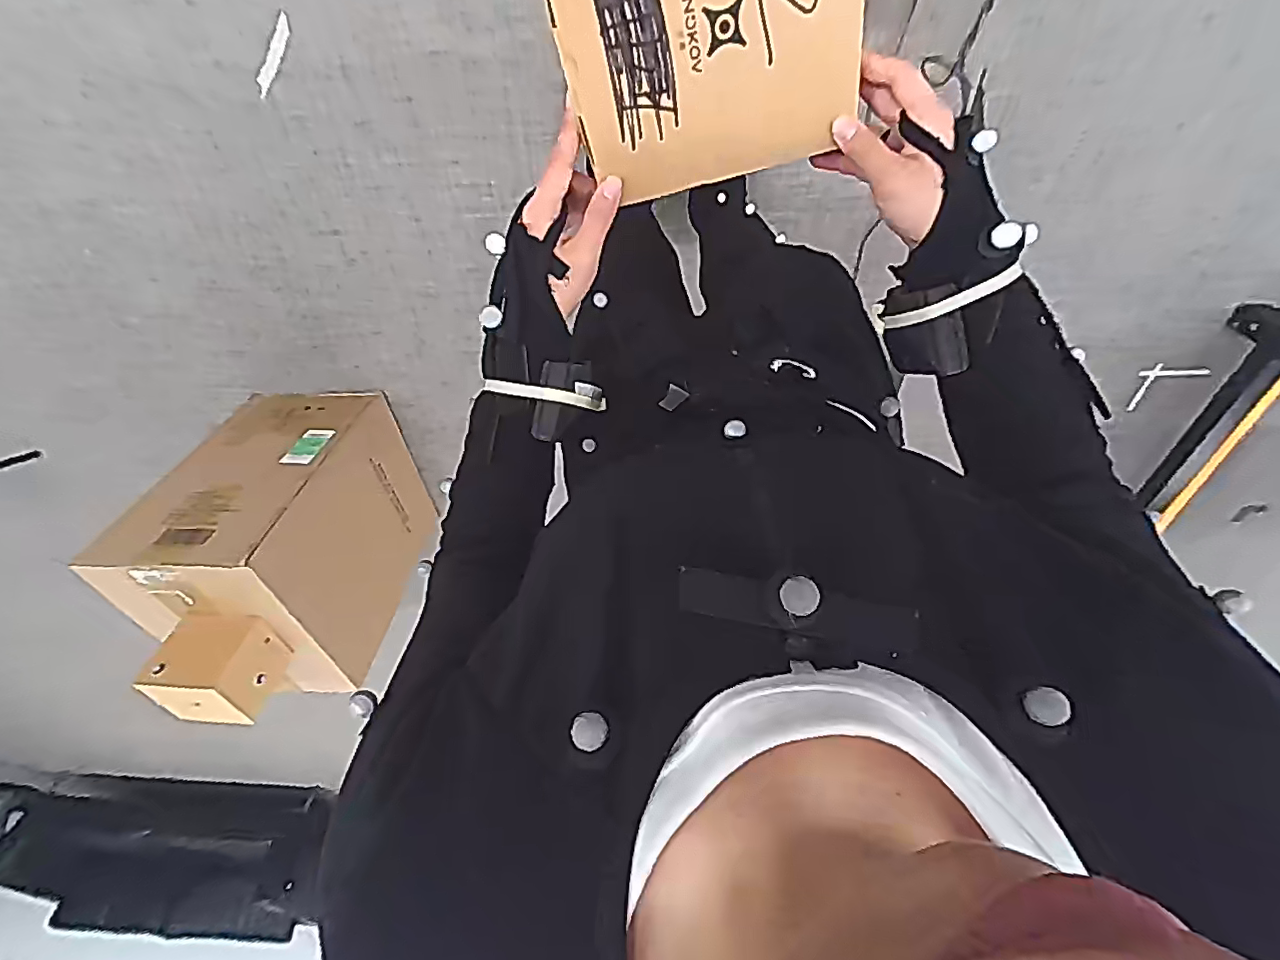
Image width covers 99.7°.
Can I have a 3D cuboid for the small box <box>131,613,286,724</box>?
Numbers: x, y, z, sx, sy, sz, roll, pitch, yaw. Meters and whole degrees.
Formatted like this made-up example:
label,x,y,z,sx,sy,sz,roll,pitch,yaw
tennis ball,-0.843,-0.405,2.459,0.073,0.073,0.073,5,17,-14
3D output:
label,x,y,z,sx,sy,sz,roll,pitch,yaw
small box,-0.902,0.402,1.159,0.179,0.176,0.168,2,133,5
